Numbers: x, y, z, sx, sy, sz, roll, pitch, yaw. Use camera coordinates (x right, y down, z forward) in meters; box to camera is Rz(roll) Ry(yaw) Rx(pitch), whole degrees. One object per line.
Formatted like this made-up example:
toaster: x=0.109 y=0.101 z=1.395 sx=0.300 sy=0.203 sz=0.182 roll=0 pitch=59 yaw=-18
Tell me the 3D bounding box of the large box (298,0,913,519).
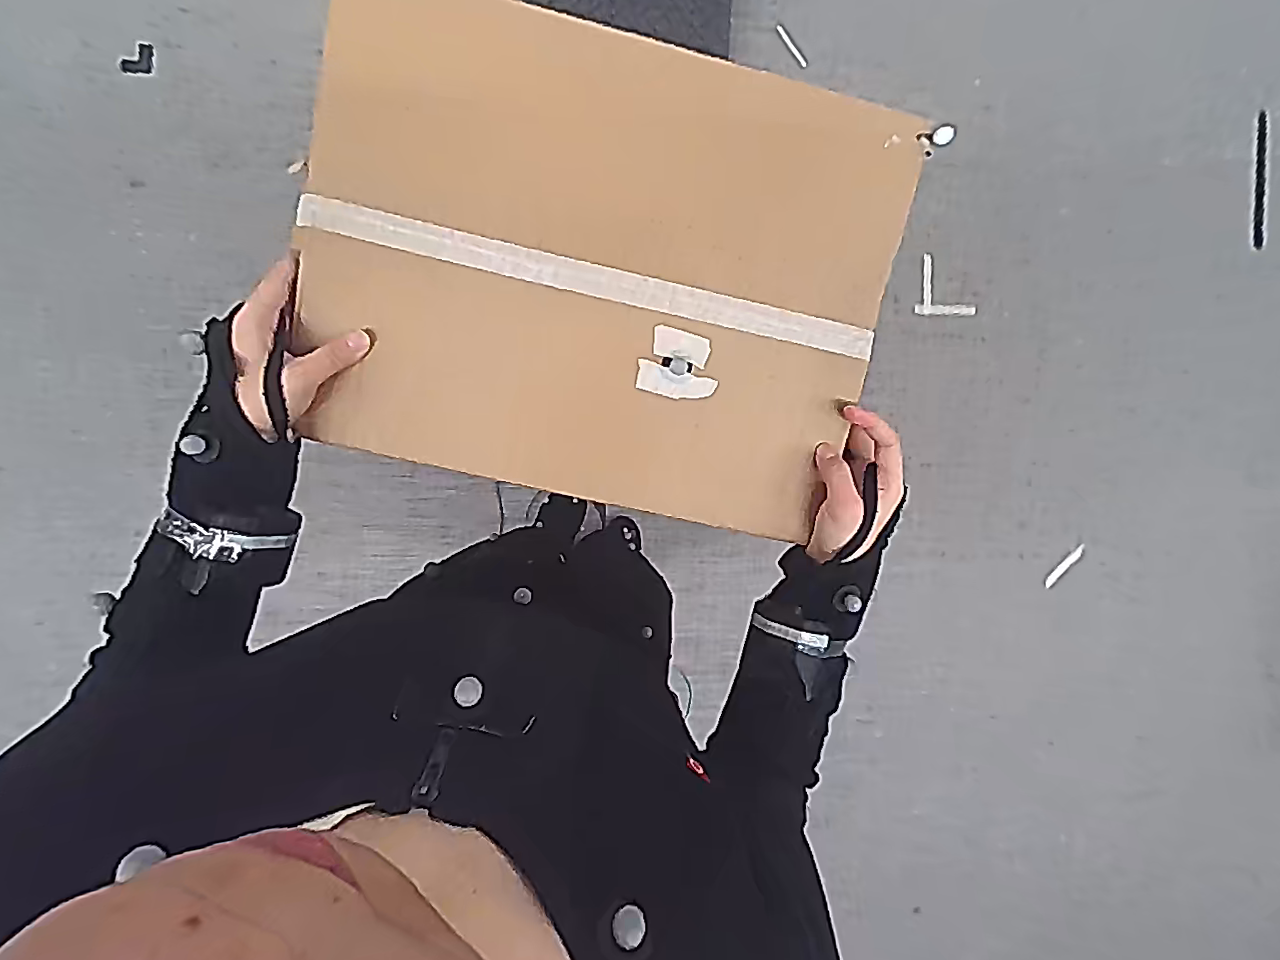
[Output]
large box: x=-0.038 y=-0.176 z=0.535 sx=0.408 sy=0.320 sz=0.320 roll=12 pitch=100 yaw=-5
